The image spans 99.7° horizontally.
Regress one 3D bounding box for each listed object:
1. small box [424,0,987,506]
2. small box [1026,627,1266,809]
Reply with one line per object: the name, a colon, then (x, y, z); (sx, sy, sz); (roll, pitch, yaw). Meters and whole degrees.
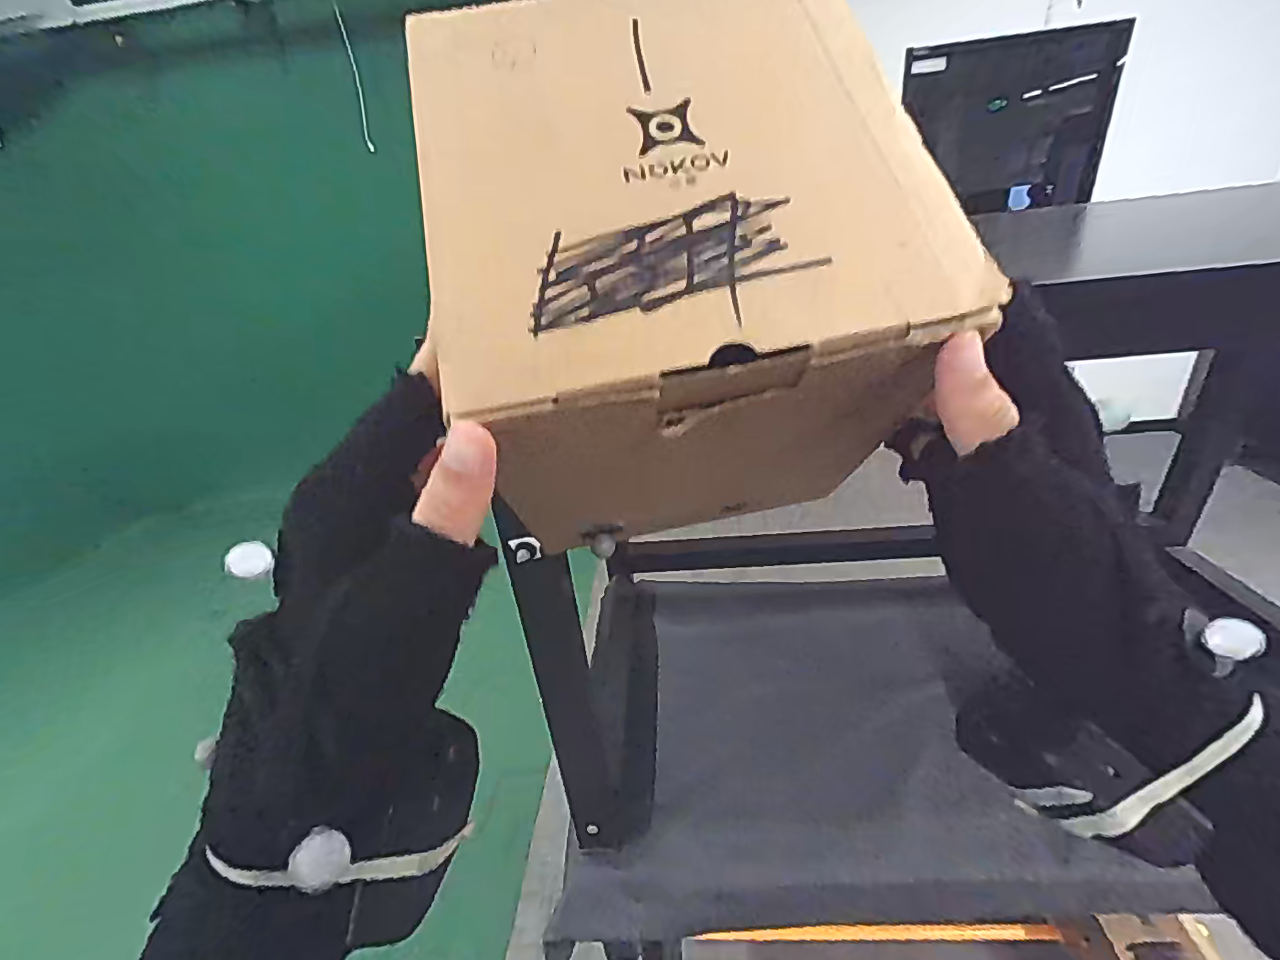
small box: (0.012, -0.097, 0.262); (0.168, 0.176, 0.179); (-11, 69, -4)
small box: (0.698, 0.336, 0.777); (0.168, 0.176, 0.179); (-5, 26, 5)
